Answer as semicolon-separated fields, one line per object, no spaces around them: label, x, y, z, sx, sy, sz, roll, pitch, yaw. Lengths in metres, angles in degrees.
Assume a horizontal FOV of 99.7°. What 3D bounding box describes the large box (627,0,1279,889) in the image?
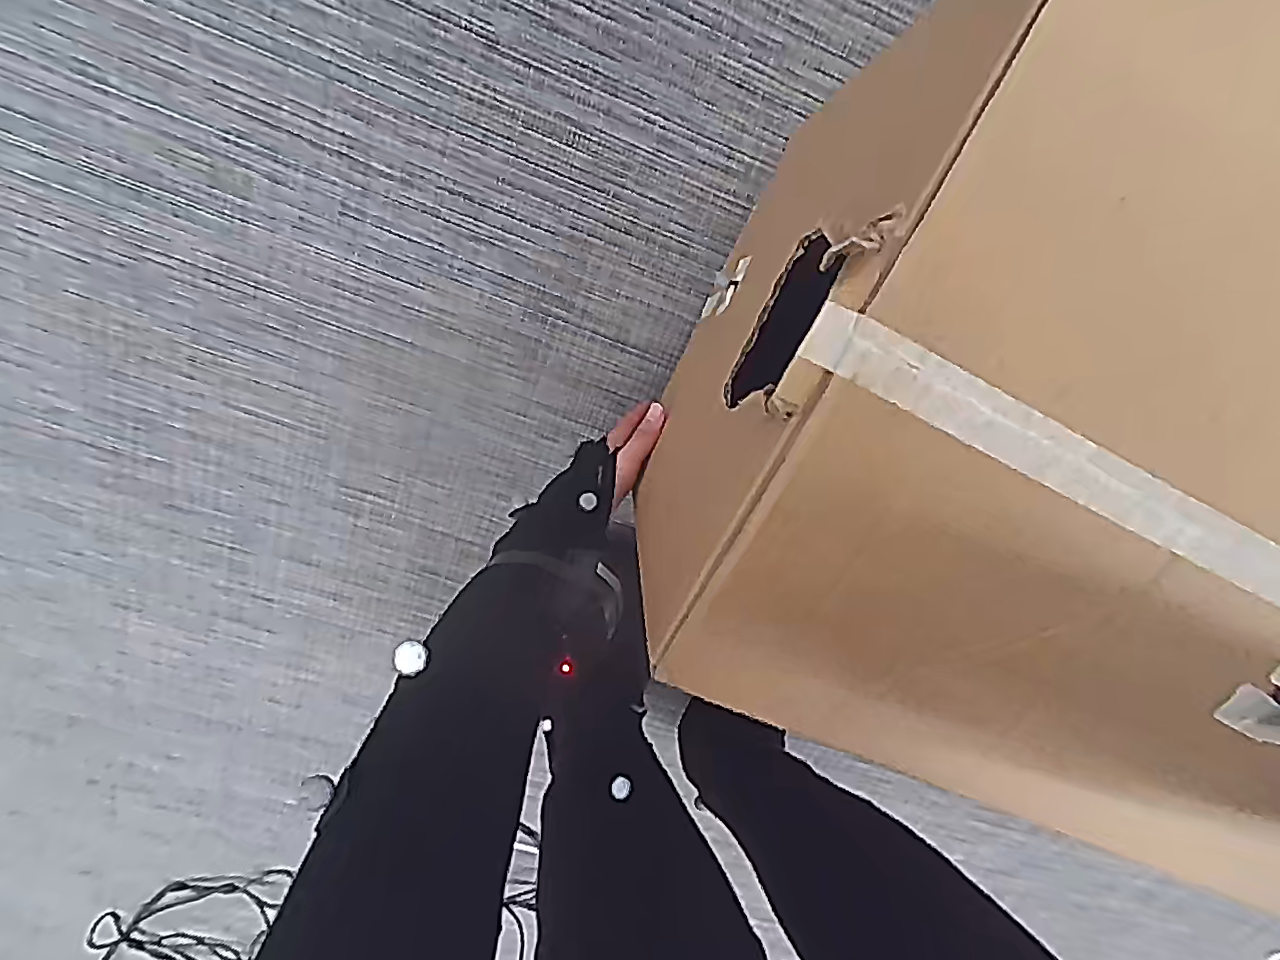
large box;0.237;-0.015;0.377;0.408;0.320;0.320;24;106;-12
